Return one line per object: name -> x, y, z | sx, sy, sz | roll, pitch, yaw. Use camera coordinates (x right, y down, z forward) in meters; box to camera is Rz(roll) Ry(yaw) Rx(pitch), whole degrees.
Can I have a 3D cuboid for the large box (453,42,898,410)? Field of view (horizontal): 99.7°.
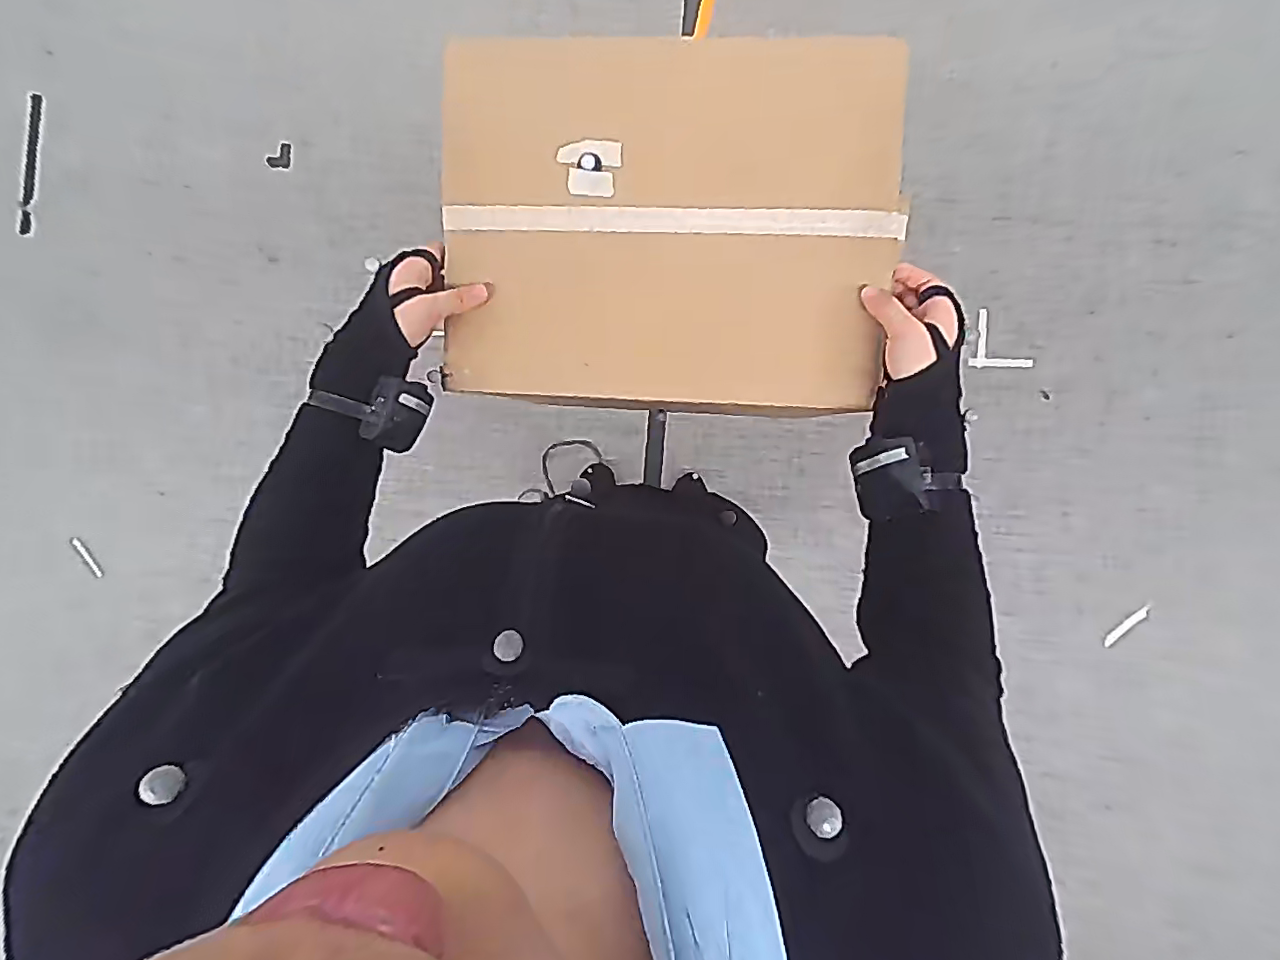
large box -> 0.038, -0.244, 0.642 | 0.408, 0.320, 0.320 | 3, 95, 6
